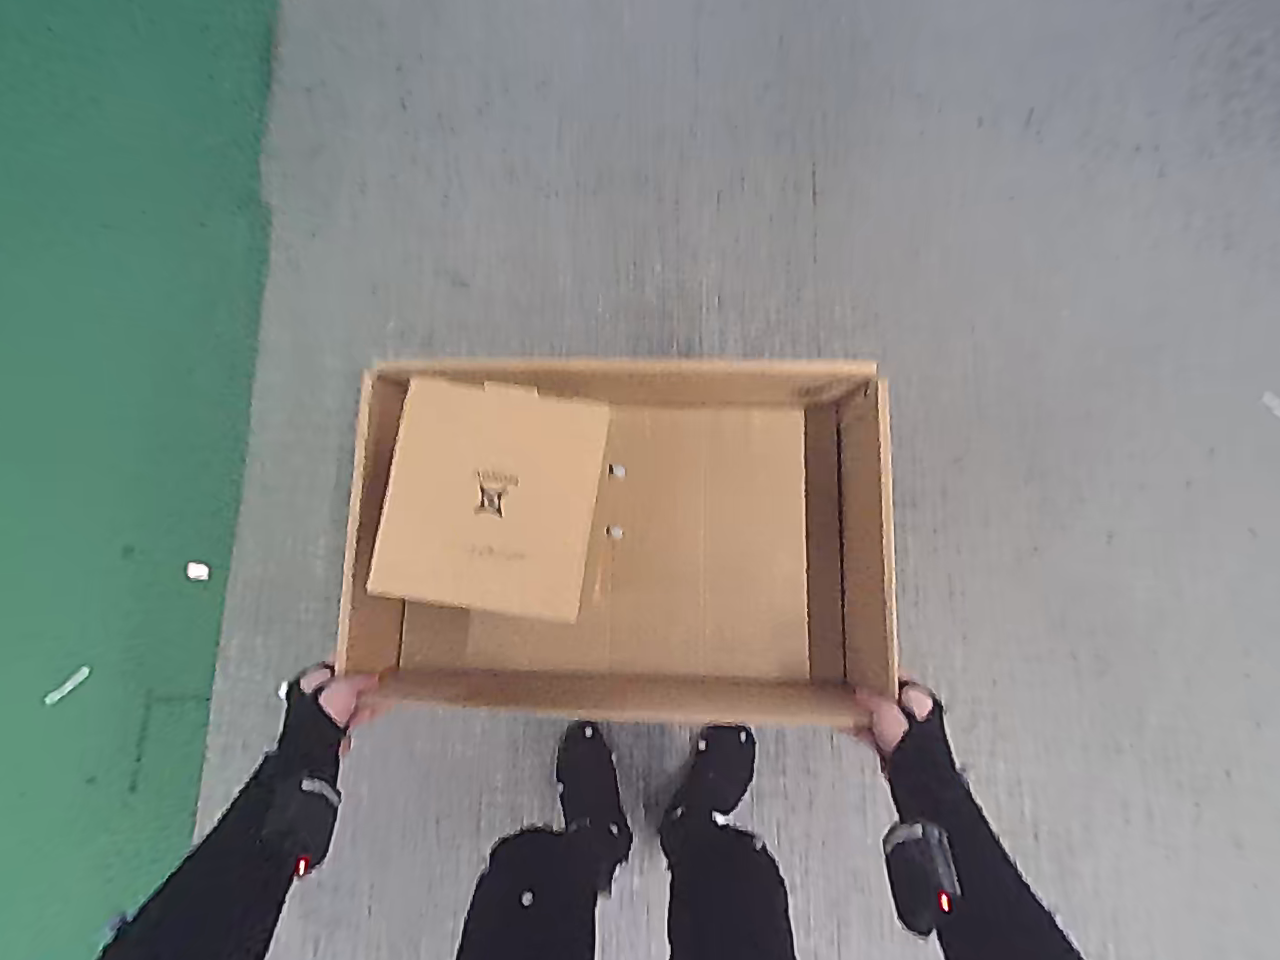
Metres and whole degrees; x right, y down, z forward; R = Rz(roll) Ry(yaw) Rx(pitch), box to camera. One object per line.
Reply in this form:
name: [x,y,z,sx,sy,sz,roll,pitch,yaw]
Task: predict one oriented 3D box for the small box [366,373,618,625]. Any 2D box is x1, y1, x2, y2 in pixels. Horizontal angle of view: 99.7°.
small box: [-0.114,0.023,0.495,0.168,0.176,0.179,9,82,1]
